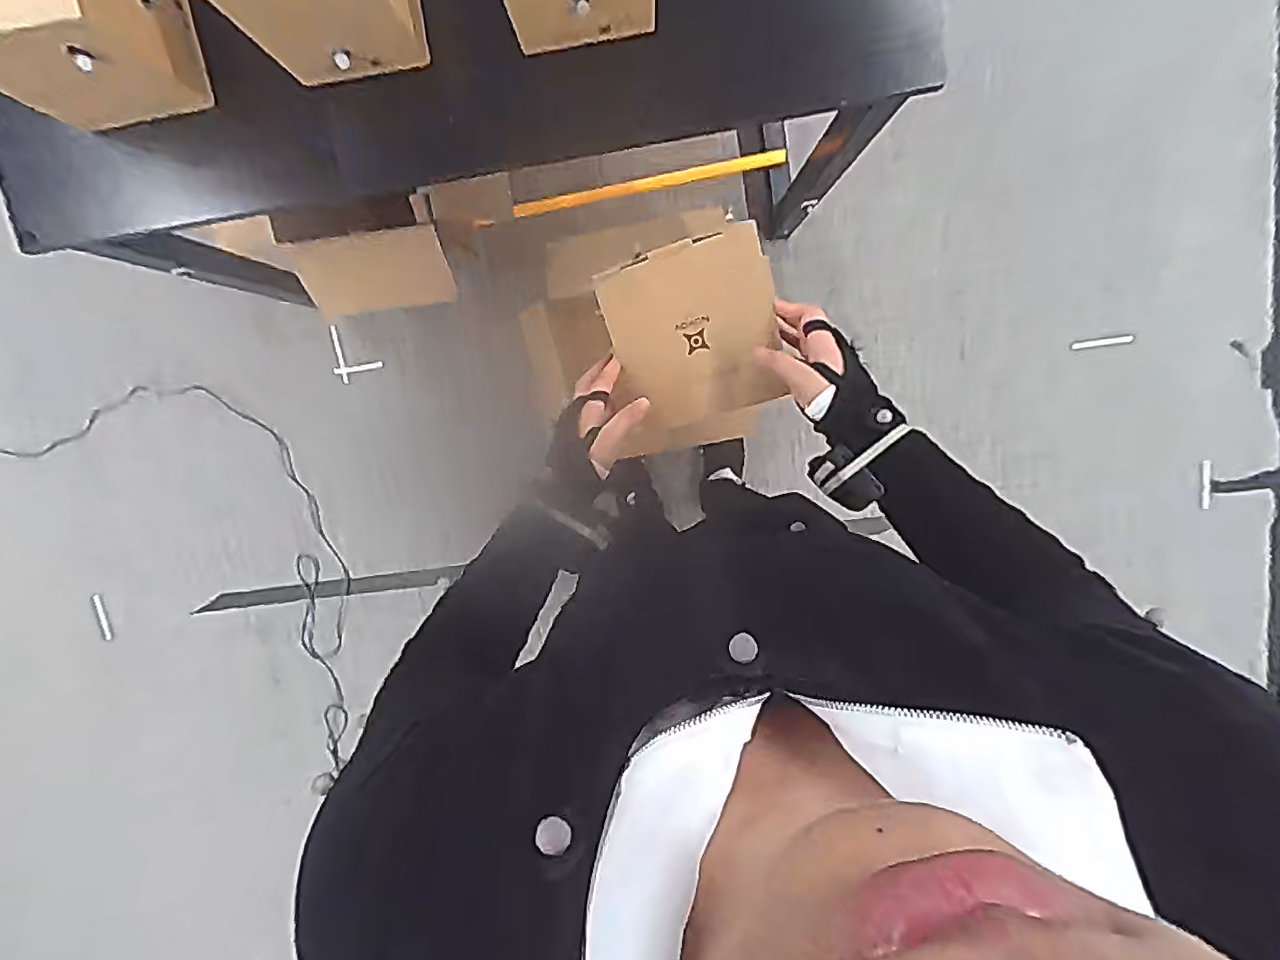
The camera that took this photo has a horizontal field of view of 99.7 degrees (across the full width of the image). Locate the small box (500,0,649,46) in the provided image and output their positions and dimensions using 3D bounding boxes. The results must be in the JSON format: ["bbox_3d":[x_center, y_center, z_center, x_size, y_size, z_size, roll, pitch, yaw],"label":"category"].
[{"bbox_3d":[-0.082,-0.606,0.574,0.168,0.176,0.179,-8,99,3],"label":"small box"}]

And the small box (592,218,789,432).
[{"bbox_3d":[0.058,-0.180,0.618,0.168,0.176,0.179,-15,114,11],"label":"small box"}]

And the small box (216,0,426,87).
[{"bbox_3d":[-0.356,-0.574,0.584,0.168,0.176,0.179,-8,99,3],"label":"small box"}]

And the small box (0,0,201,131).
[{"bbox_3d":[-0.636,-0.522,0.595,0.179,0.176,0.168,-10,98,2],"label":"small box"}]
